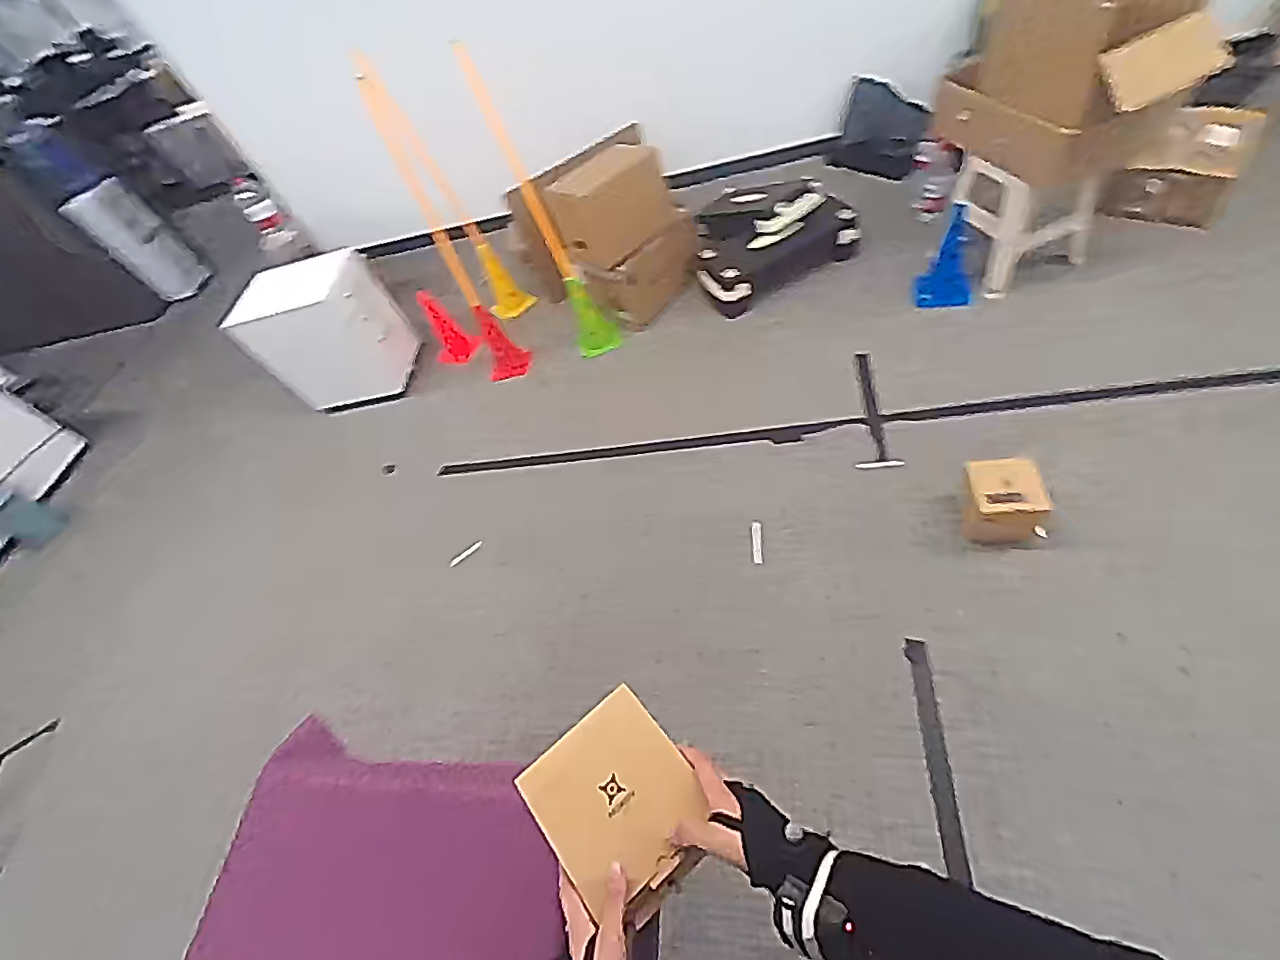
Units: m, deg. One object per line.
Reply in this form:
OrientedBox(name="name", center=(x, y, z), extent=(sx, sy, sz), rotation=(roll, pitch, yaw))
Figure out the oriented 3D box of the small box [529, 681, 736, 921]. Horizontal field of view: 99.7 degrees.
OrientedBox(name="small box", center=(-0.002, 0.386, 0.651), extent=(0.168, 0.176, 0.179), rotation=(-36, 53, -16))
